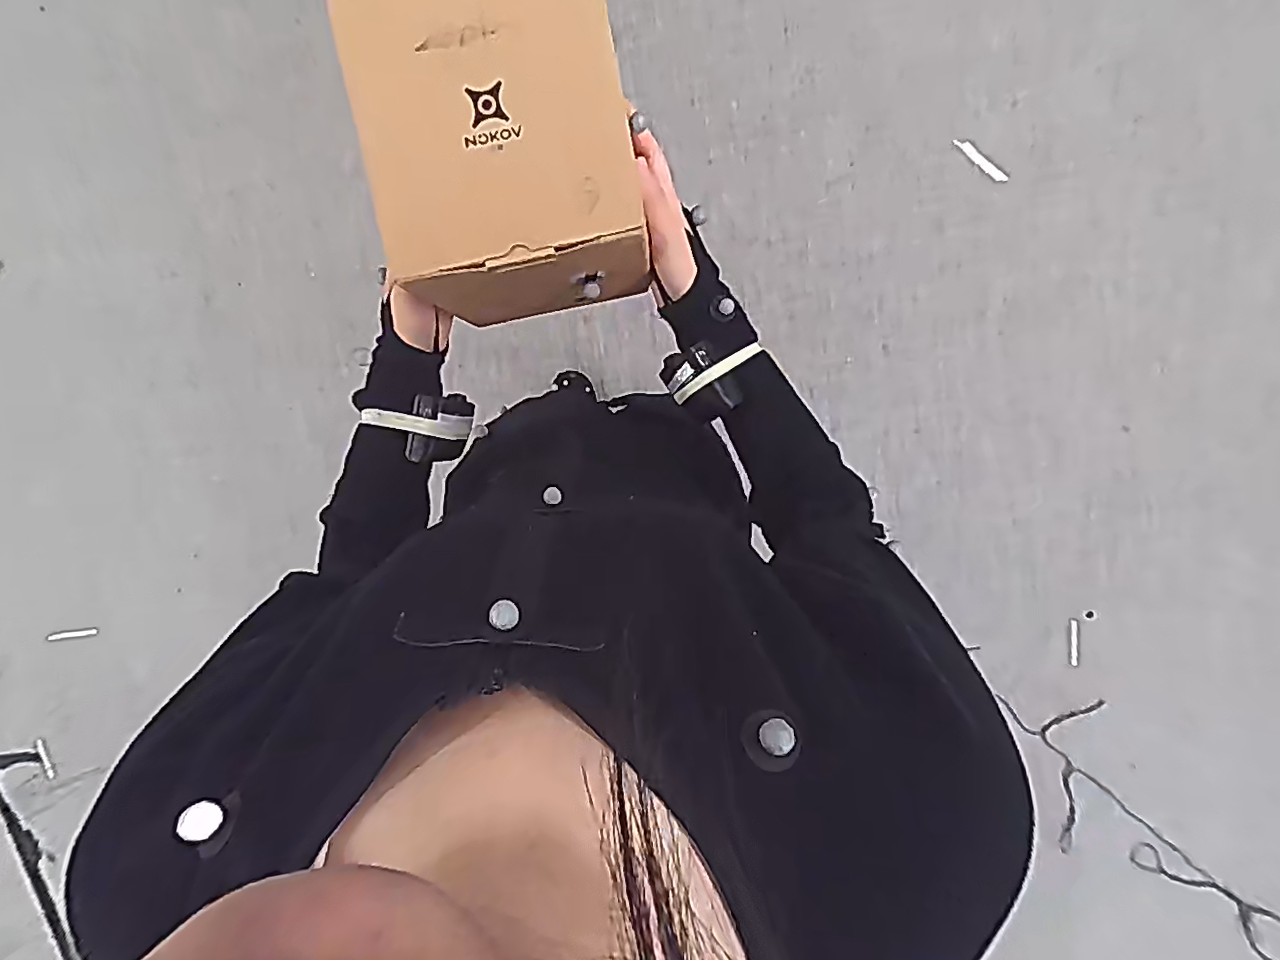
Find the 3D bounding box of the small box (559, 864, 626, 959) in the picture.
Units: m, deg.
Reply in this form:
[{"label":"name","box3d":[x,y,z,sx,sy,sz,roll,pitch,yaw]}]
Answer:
[{"label":"small box","box3d":[-0.137,1.305,1.627,0.168,0.176,0.179,-9,99,2]}]

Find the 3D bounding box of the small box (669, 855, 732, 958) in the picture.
[{"label":"small box","box3d":[0.177,1.269,1.615,0.168,0.176,0.179,-7,100,3]}]
